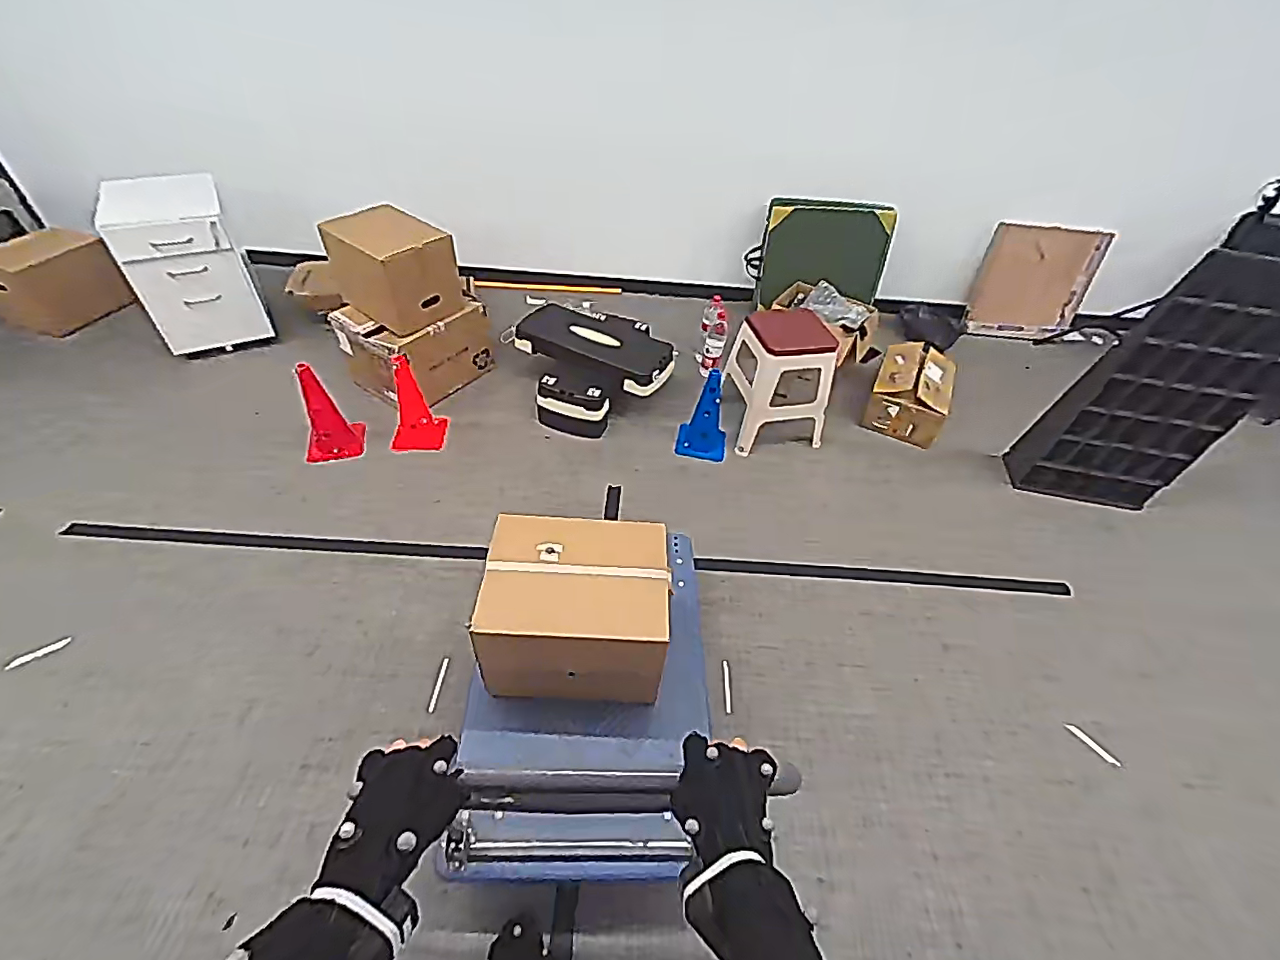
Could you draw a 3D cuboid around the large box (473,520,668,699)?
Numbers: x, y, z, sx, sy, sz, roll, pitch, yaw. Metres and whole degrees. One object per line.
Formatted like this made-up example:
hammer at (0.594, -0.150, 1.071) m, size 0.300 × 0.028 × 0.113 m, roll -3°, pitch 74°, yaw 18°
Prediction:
large box at (-0.146, 0.318, 1.311) m, size 0.408 × 0.320 × 0.320 m, roll 3°, pitch 45°, yaw -1°
